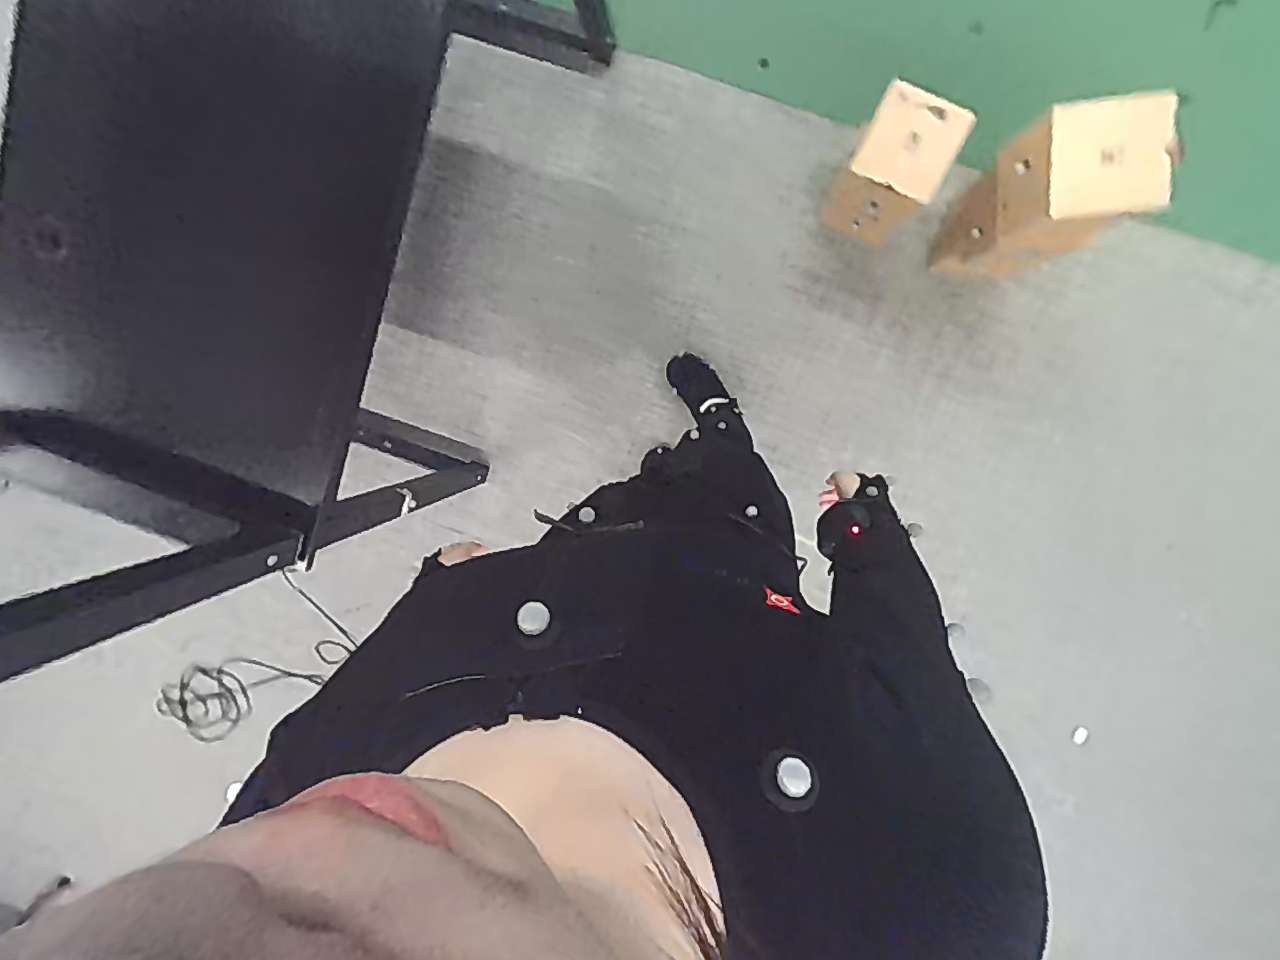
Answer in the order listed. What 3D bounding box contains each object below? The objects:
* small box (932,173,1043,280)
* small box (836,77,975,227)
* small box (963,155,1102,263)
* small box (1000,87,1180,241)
[{"bbox_3d":[0.799,-0.565,1.225,0.179,0.176,0.168,13,101,4],"label":"small box"},{"bbox_3d":[0.512,-0.638,1.080,0.168,0.176,0.179,27,101,3],"label":"small box"},{"bbox_3d":[0.770,-0.532,1.069,0.179,0.176,0.168,0,101,6],"label":"small box"},{"bbox_3d":[0.738,-0.515,0.909,0.179,0.176,0.168,-4,99,7],"label":"small box"}]
